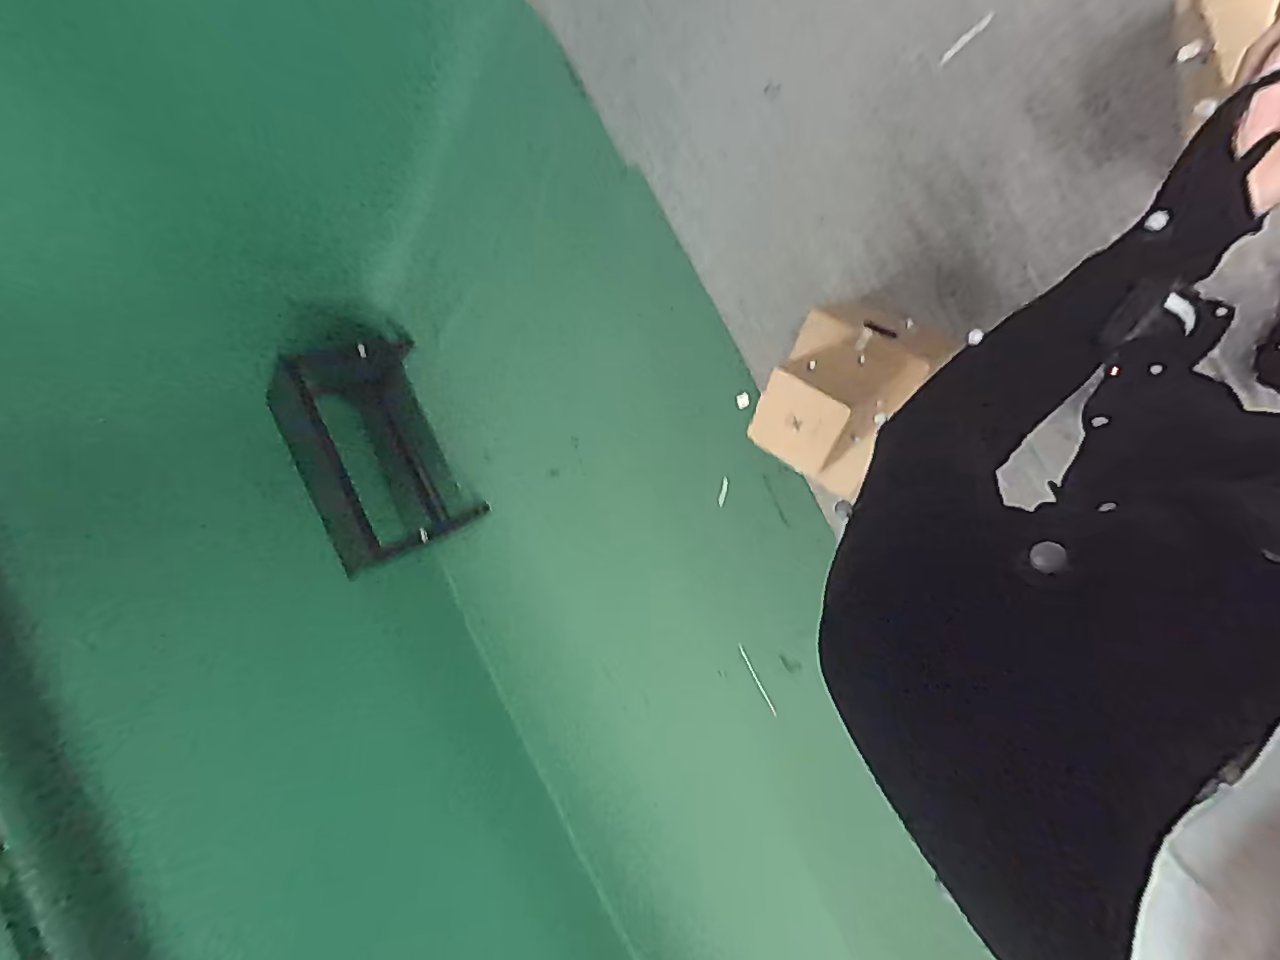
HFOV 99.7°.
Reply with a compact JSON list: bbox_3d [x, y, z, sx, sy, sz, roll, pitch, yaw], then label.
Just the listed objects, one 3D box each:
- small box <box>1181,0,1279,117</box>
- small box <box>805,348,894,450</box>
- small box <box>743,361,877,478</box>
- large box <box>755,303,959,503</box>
[{"bbox_3d":[0.833,-0.603,0.696,0.168,0.176,0.179,-16,98,46],"label":"small box"},{"bbox_3d":[0.454,-0.186,1.239,0.168,0.176,0.179,37,130,27],"label":"small box"},{"bbox_3d":[0.353,-0.134,1.122,0.179,0.176,0.168,38,131,25],"label":"small box"},{"bbox_3d":[0.577,-0.220,1.464,0.320,0.320,0.408,38,131,28],"label":"large box"}]
